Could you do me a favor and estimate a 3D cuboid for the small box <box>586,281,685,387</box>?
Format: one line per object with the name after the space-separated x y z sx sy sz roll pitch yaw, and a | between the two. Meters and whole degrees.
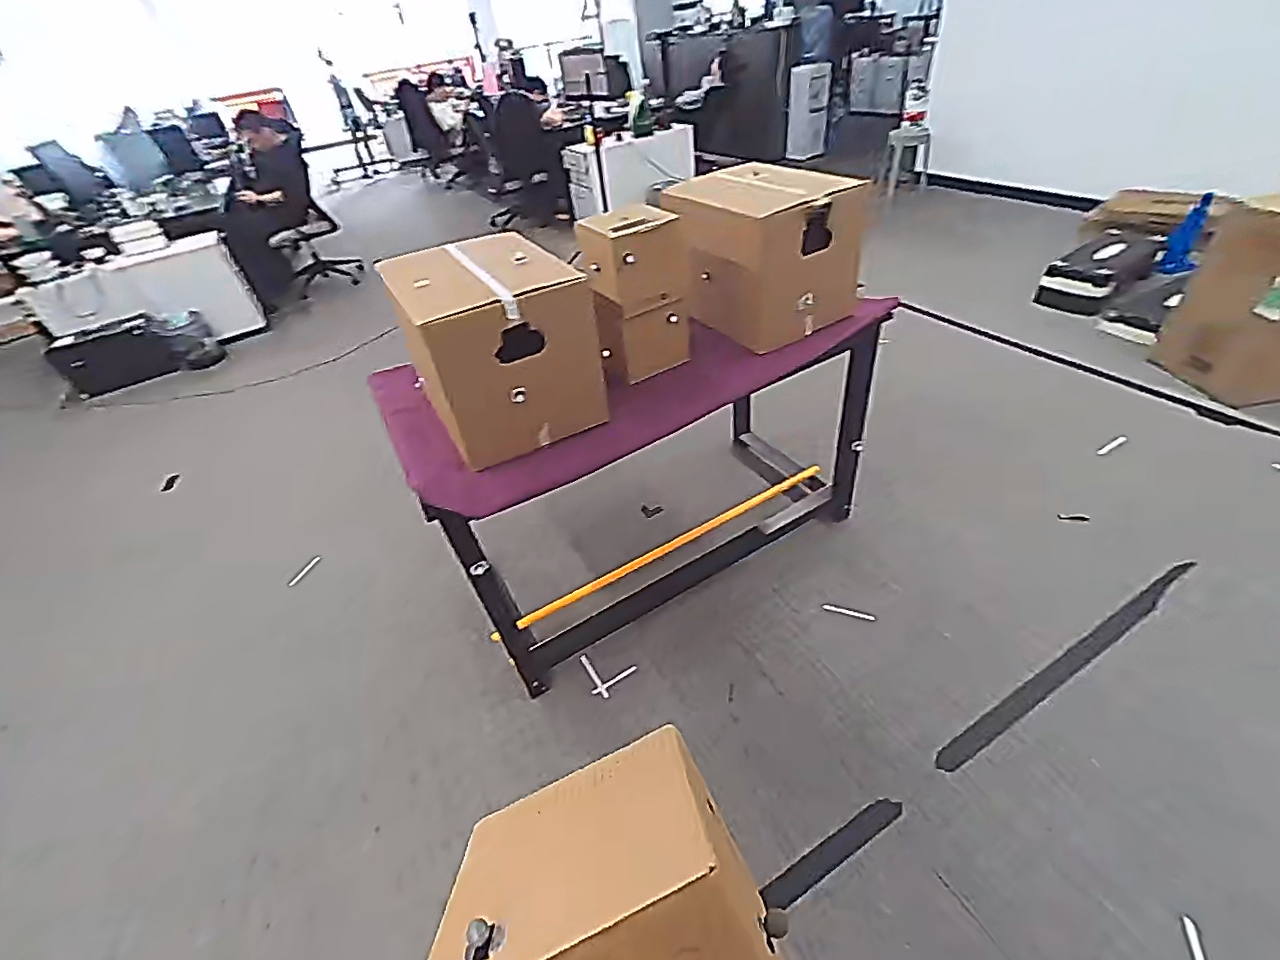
-0.005 -0.349 1.289 0.179 0.176 0.168 -27 43 -19 | small box

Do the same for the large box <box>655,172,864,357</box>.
0.290 -0.558 1.373 0.320 0.320 0.408 -26 42 -19 | large box

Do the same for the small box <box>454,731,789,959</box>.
-0.004 0.300 0.348 0.179 0.168 0.176 -25 1 -2 | small box
